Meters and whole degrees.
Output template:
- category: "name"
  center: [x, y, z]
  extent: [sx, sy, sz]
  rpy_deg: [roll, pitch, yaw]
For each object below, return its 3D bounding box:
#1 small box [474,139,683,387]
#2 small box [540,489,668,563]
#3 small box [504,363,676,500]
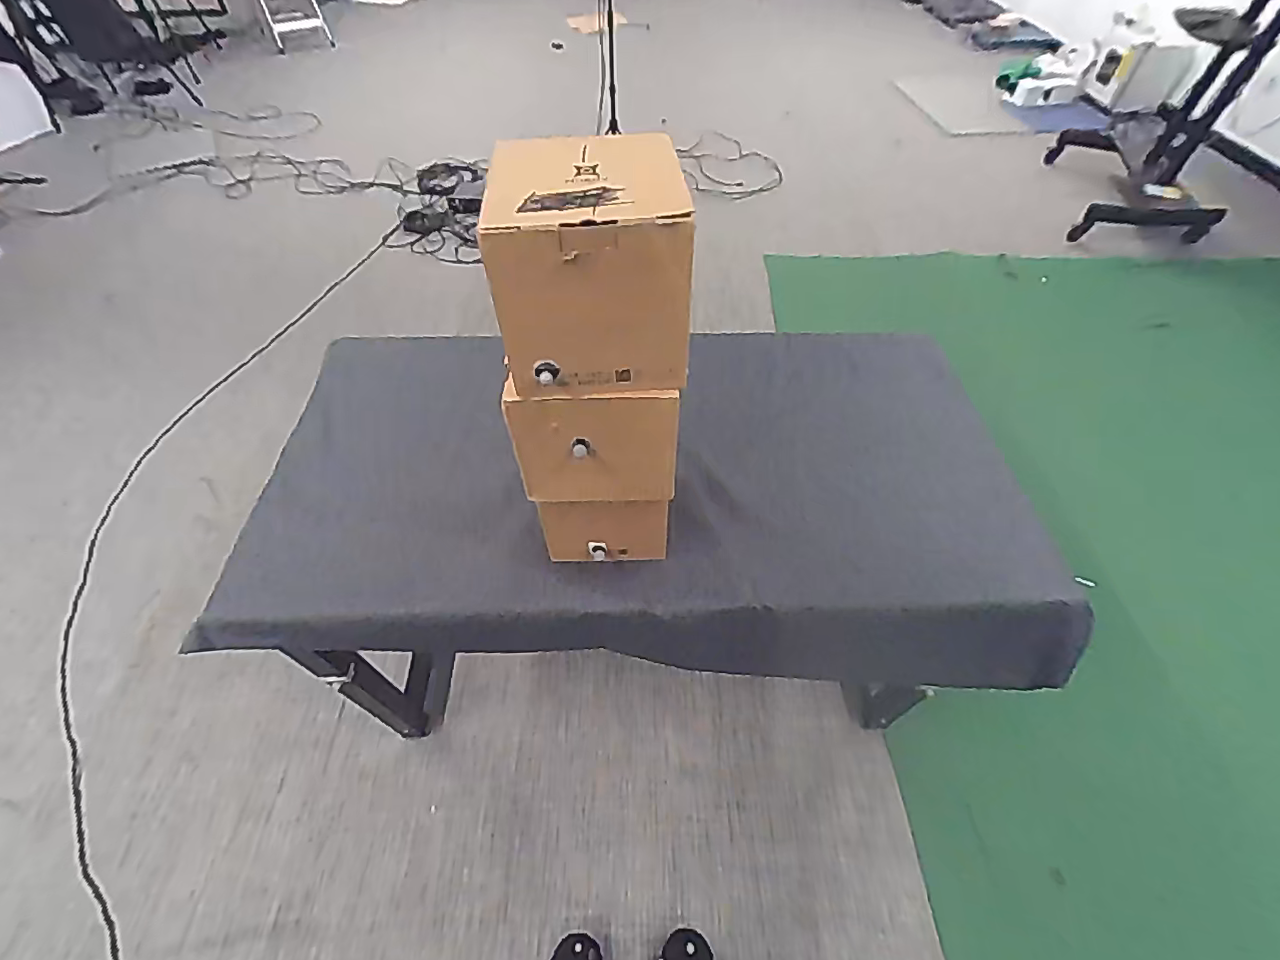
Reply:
- category: "small box"
  center: [-0.050, -0.203, 0.525]
  extent: [0.168, 0.176, 0.179]
  rpy_deg: [-4, 50, -2]
- category: "small box"
  center: [-0.050, 0.002, 0.782]
  extent: [0.168, 0.176, 0.179]
  rpy_deg: [-3, 52, -1]
- category: "small box"
  center: [-0.052, -0.089, 0.648]
  extent: [0.179, 0.176, 0.168]
  rpy_deg: [-3, 49, -2]
